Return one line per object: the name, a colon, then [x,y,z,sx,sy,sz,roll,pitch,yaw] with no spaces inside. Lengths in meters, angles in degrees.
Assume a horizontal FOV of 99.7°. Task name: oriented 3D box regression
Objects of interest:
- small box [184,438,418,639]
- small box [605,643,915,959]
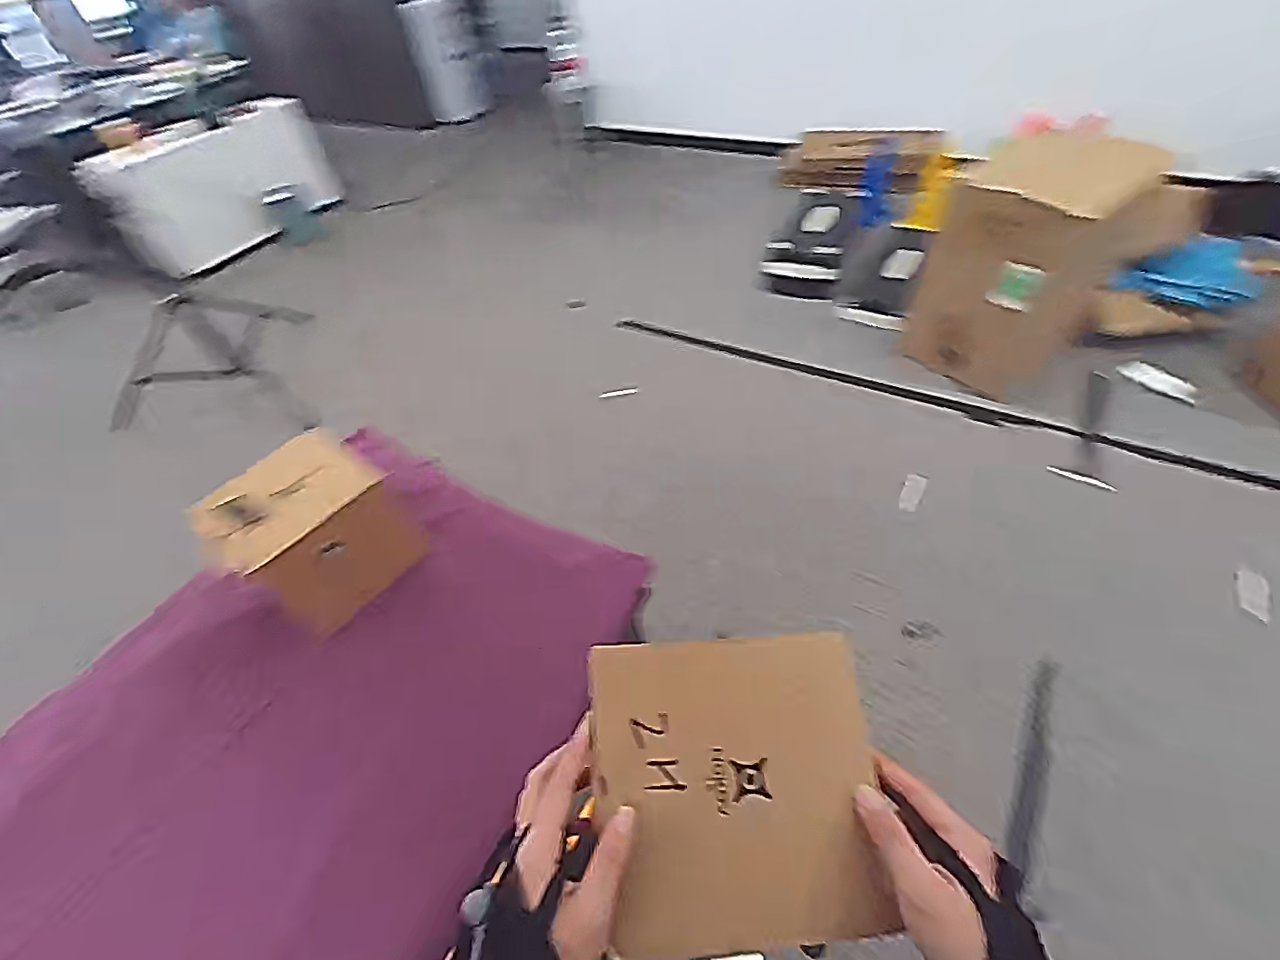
small box: [-0.440,0.081,0.730,0.168,0.176,0.179,27,57,25]
small box: [0.063,0.219,0.403,0.179,0.176,0.168,-2,64,-3]
